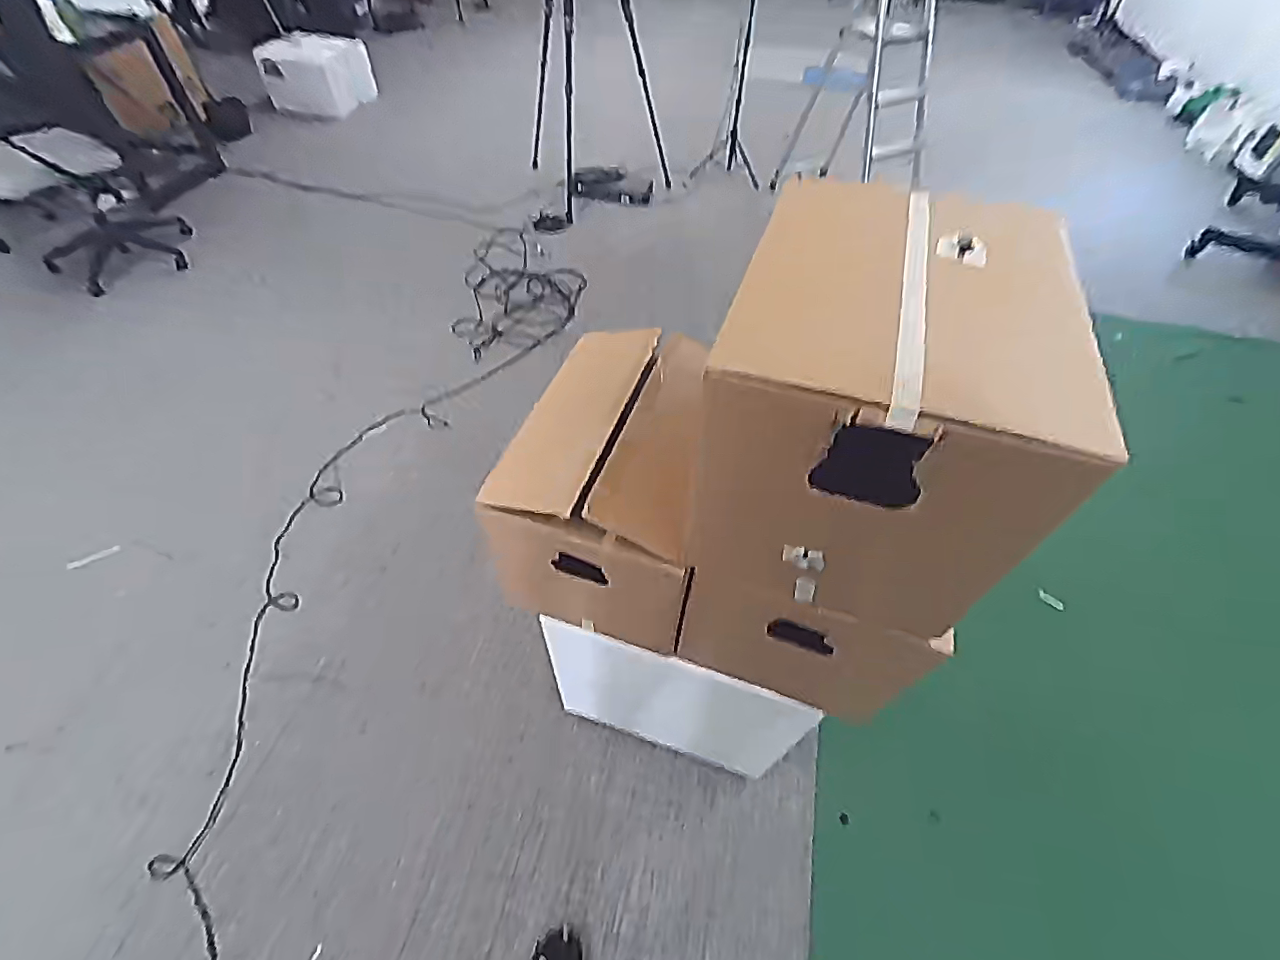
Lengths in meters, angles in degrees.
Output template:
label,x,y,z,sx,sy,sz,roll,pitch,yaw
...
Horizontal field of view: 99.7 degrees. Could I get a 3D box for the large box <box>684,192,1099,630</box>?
label,x,y,z,sx,sy,sz,roll,pitch,yaw
large box,0.254,-0.096,0.655,0.320,0.320,0.408,15,51,13
